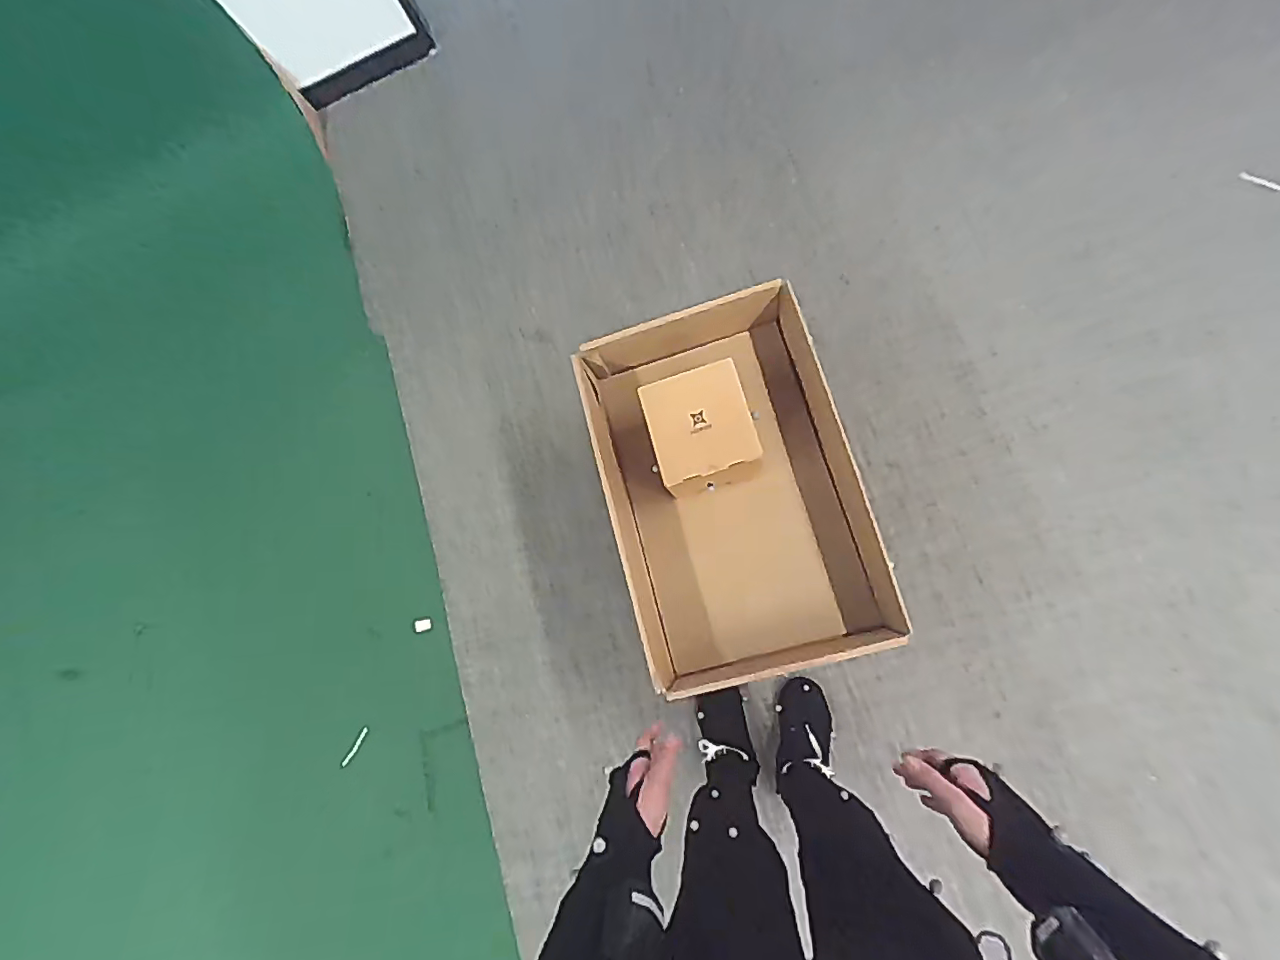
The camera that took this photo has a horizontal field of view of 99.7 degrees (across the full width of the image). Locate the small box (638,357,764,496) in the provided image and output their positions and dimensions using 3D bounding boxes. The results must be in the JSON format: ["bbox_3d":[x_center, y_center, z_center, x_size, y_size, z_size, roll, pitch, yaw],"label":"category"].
[{"bbox_3d":[0.107,-0.085,0.945,0.168,0.176,0.179,-18,79,7],"label":"small box"}]
